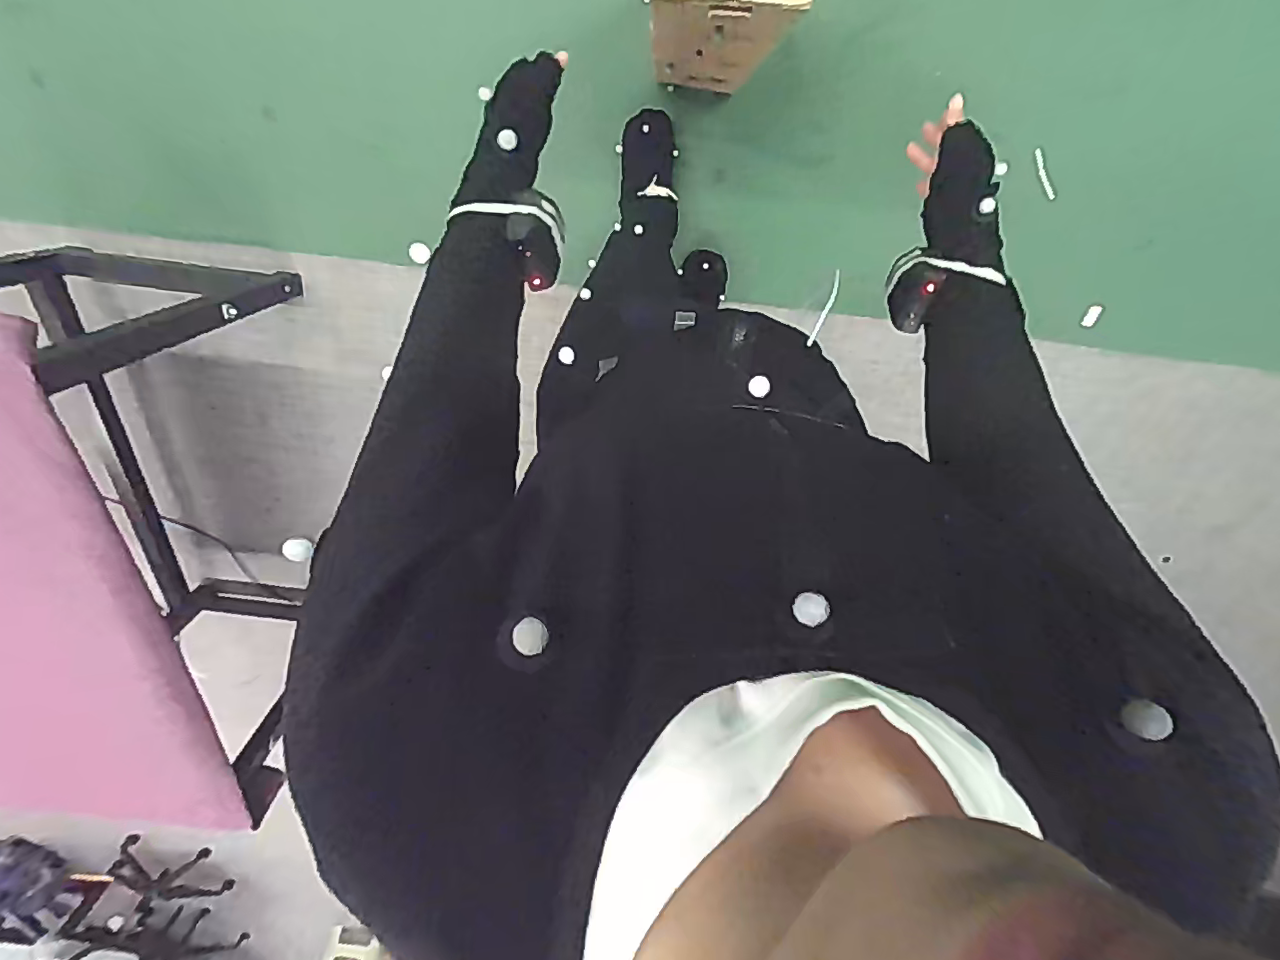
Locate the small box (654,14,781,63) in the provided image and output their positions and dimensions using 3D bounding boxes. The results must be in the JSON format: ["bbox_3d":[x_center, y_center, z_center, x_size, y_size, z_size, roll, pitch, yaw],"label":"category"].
[{"bbox_3d":[0.106,-0.683,0.719,0.168,0.176,0.179,4,121,0],"label":"small box"}]

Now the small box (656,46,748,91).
[{"bbox_3d":[0.125,-0.843,1.004,0.168,0.176,0.179,7,120,-2],"label":"small box"}]

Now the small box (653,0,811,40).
[{"bbox_3d":[0.100,-0.601,0.576,0.168,0.176,0.179,4,121,1],"label":"small box"}]
